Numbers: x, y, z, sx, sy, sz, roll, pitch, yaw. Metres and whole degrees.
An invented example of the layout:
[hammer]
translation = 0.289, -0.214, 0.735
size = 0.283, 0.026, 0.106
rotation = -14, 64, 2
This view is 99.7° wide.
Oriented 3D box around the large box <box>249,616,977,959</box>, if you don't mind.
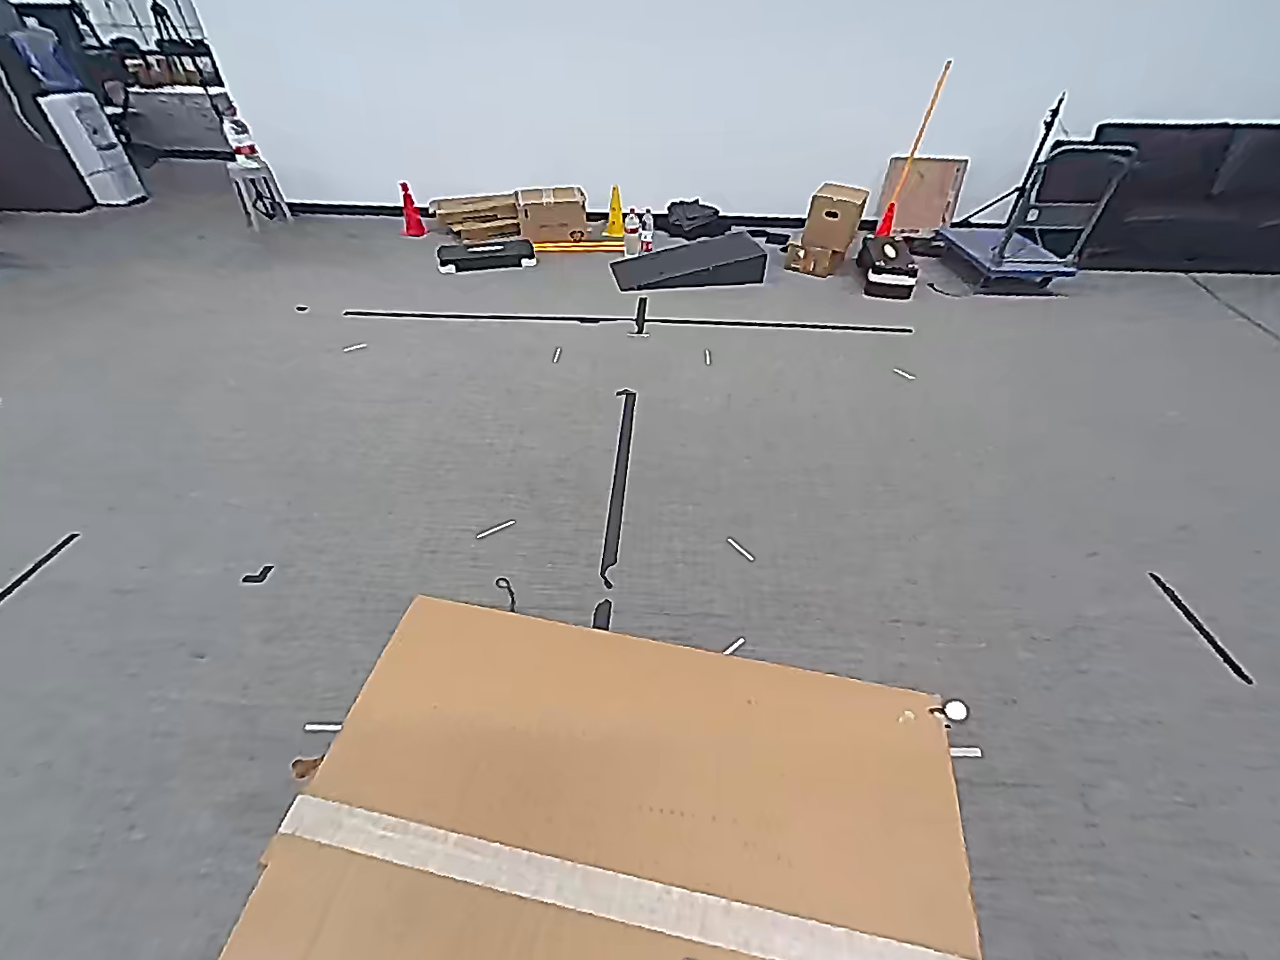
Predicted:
[large box]
translation = -0.012, 0.347, 0.427
size = 0.408, 0.320, 0.320
rotation = 9, 49, 7
